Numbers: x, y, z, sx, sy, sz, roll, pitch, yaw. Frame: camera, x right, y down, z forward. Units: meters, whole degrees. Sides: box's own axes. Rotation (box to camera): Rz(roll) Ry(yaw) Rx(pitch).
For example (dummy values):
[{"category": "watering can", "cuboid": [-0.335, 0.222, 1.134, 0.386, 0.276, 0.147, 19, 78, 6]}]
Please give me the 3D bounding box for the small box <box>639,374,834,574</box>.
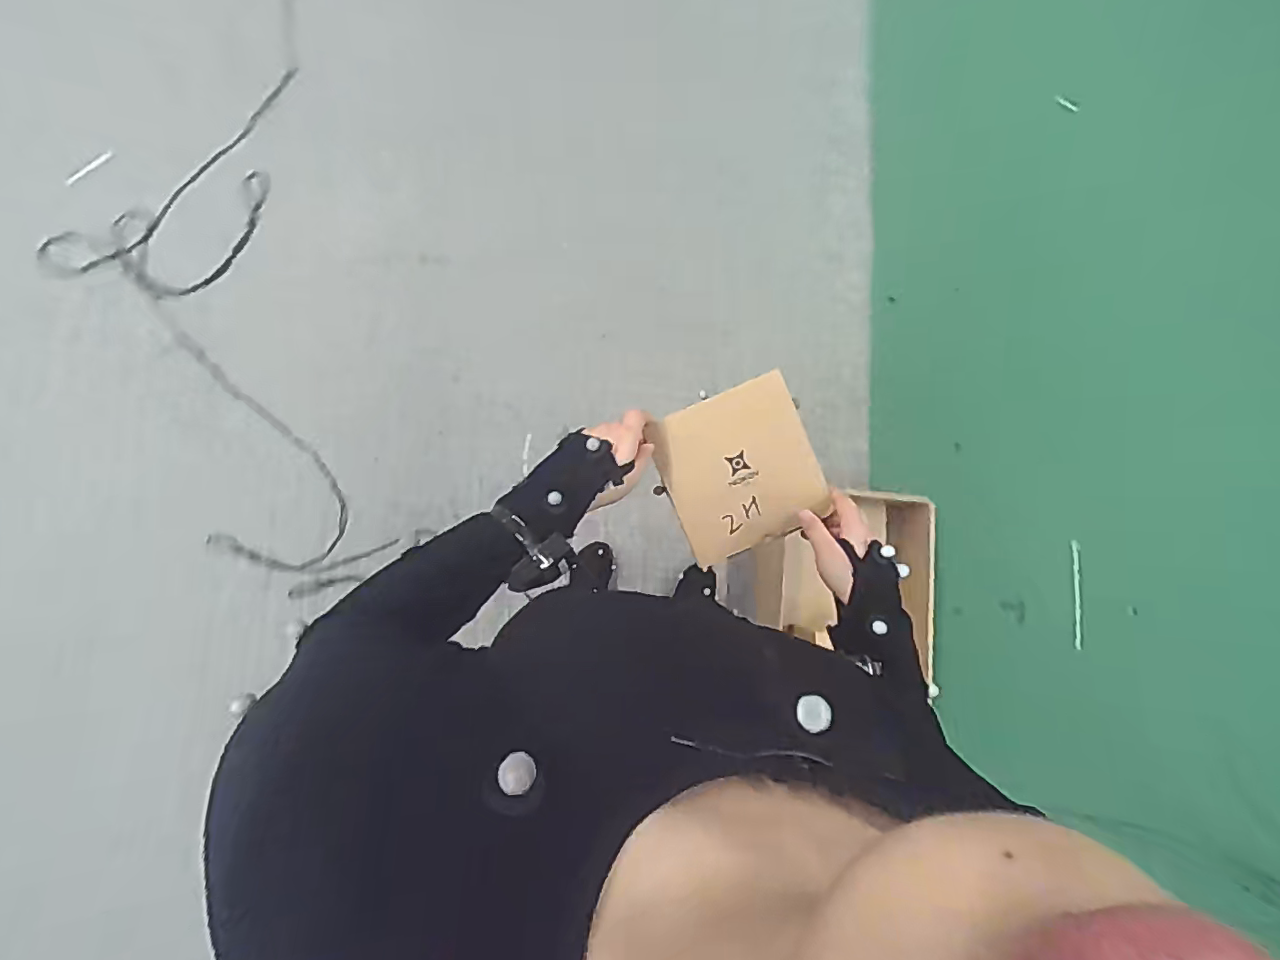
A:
[{"category": "small box", "cuboid": [0.107, -0.011, 0.667, 0.168, 0.176, 0.179, -24, 94, 4]}]
